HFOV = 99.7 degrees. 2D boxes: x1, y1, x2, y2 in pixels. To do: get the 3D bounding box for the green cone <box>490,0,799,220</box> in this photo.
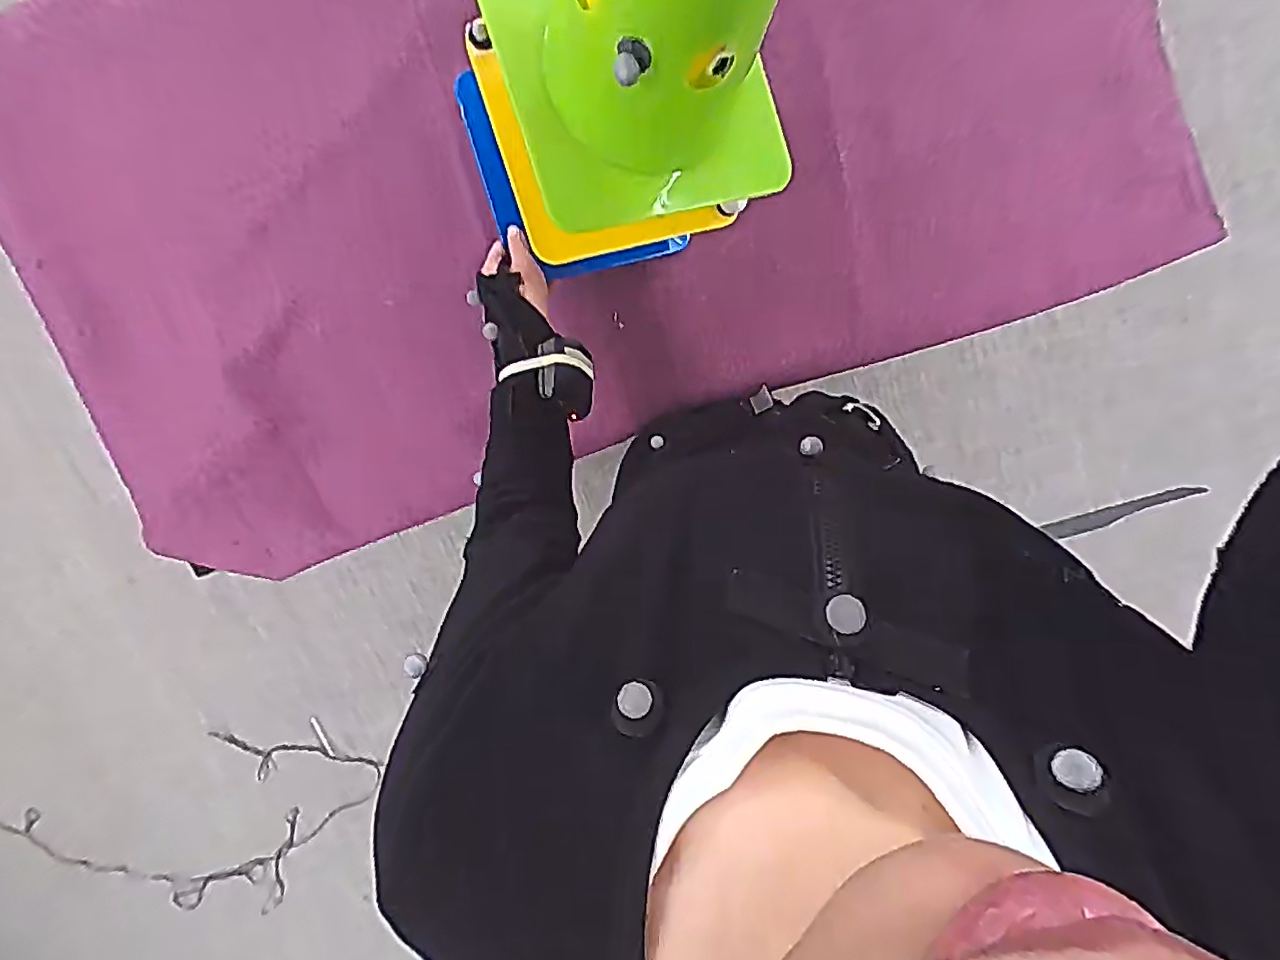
[{"bbox_3d":[0.049,-0.298,0.218,0.200,0.368,0.202,-19,95,-13],"label":"green cone"}]
